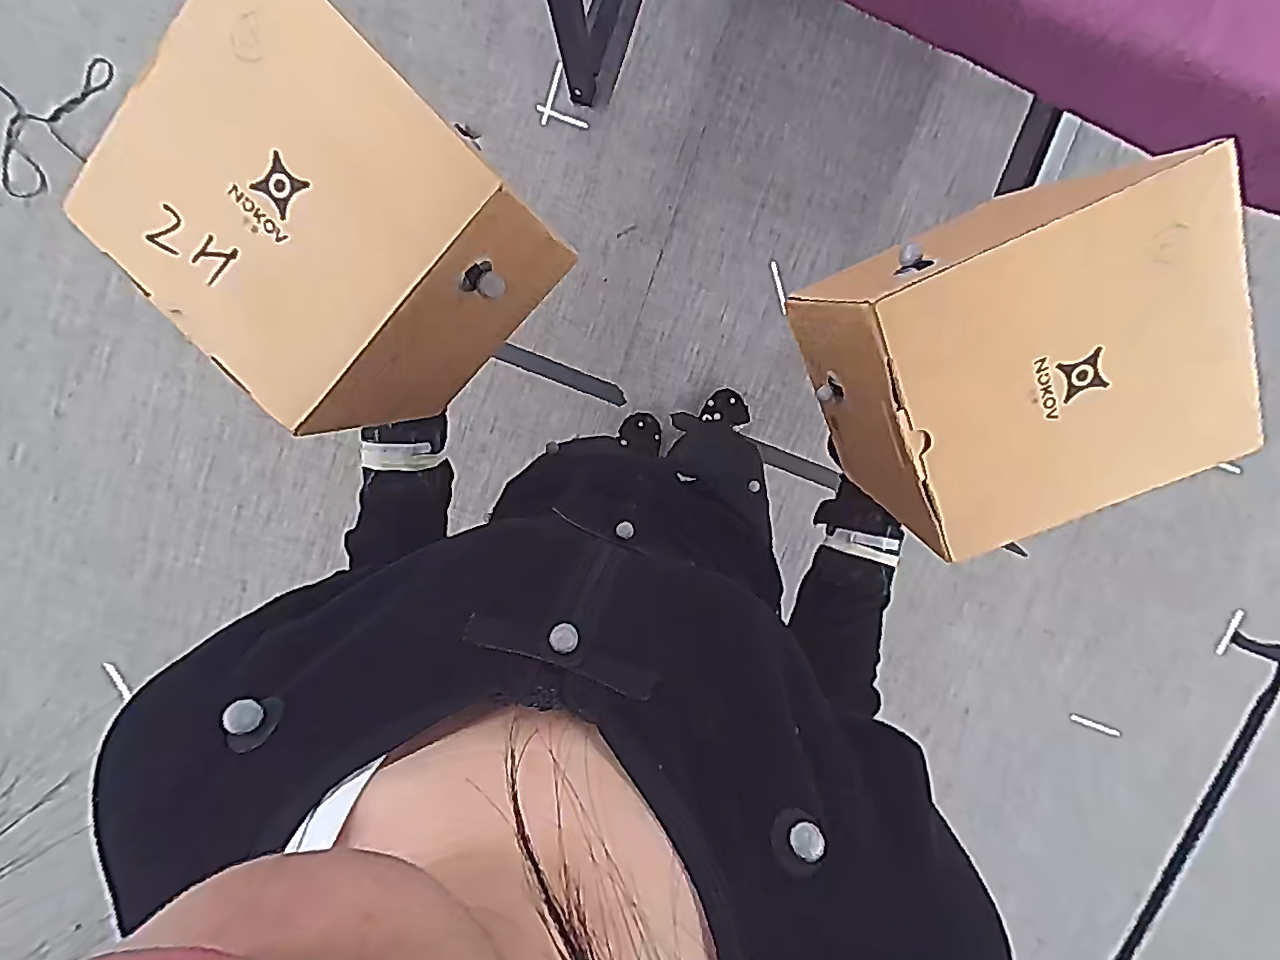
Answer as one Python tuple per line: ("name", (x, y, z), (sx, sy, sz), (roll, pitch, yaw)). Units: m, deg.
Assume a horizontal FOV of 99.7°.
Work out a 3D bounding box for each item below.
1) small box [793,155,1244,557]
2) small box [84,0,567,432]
("small box", (0.229, -0.082, 0.367), (0.179, 0.176, 0.168), (-24, 108, 8))
("small box", (-0.166, -0.155, 0.348), (0.179, 0.176, 0.168), (-43, 93, 13))
